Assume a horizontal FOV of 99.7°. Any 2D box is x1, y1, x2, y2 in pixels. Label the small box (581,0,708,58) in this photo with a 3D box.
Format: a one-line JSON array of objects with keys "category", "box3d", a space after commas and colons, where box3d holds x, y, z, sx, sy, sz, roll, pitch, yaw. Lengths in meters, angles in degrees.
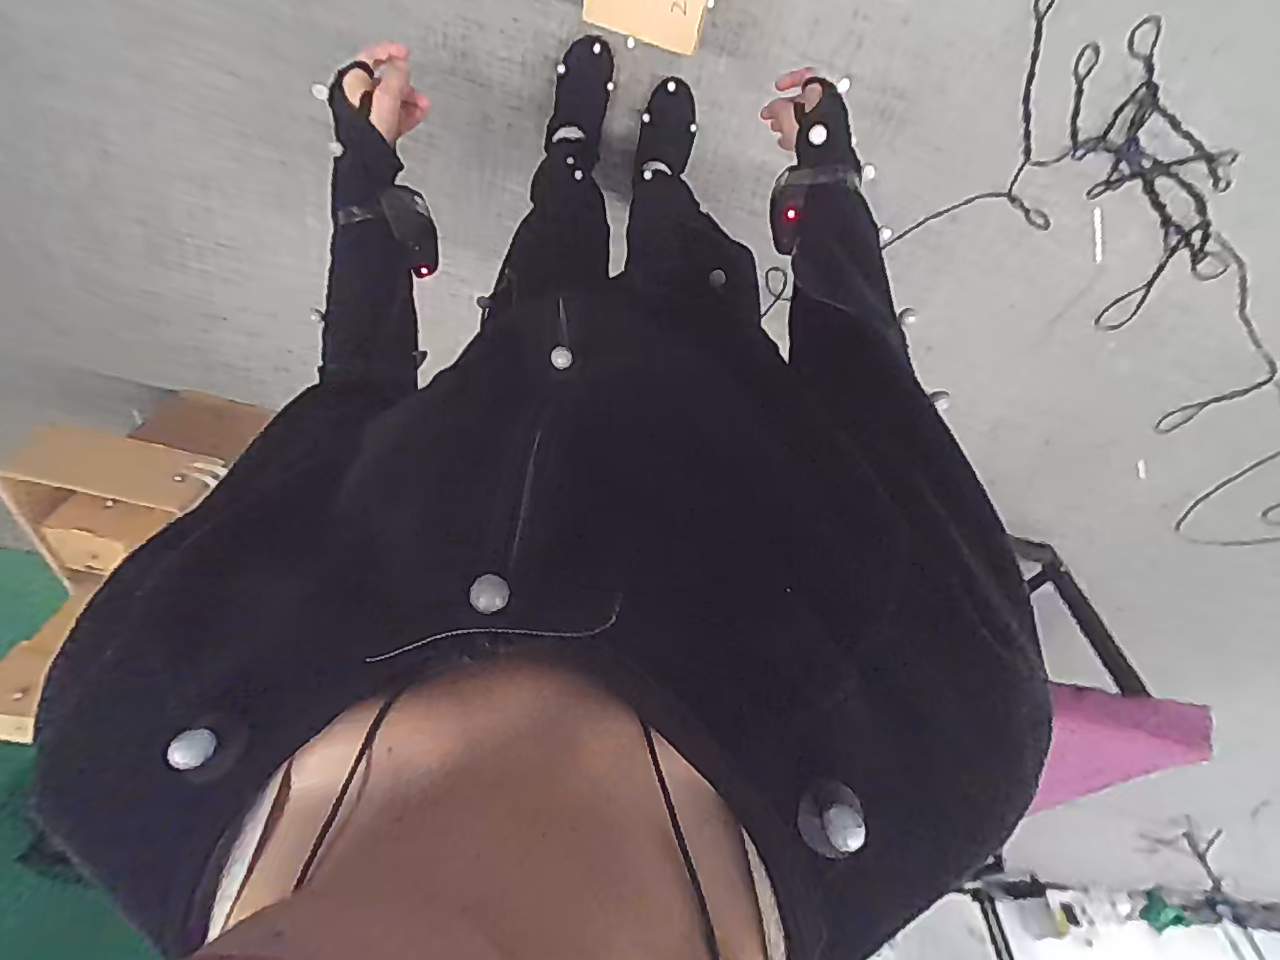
[{"category": "small box", "box3d": [0.021, -0.768, 0.815, 0.179, 0.176, 0.168, 13, 132, -7]}]
